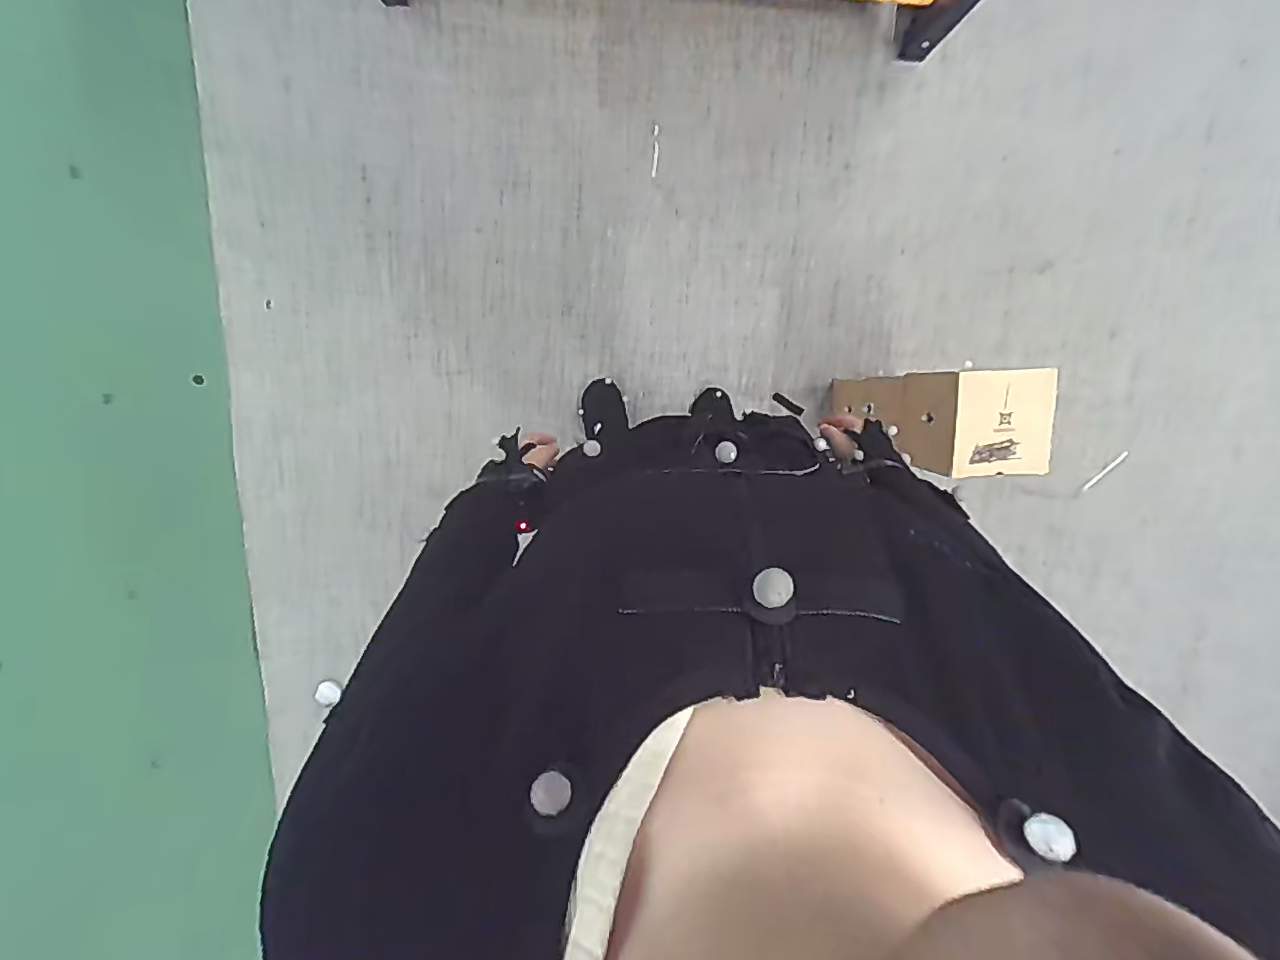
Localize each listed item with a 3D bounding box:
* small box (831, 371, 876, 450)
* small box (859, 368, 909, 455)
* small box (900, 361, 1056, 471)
[{"bbox_3d":[0.563,-0.169,1.277,0.168,0.176,0.179,-3,101,-2],"label":"small box"},{"bbox_3d":[0.575,-0.147,1.115,0.179,0.176,0.168,-3,100,-1],"label":"small box"},{"bbox_3d":[0.581,-0.117,0.953,0.168,0.176,0.179,-2,100,-2],"label":"small box"}]
